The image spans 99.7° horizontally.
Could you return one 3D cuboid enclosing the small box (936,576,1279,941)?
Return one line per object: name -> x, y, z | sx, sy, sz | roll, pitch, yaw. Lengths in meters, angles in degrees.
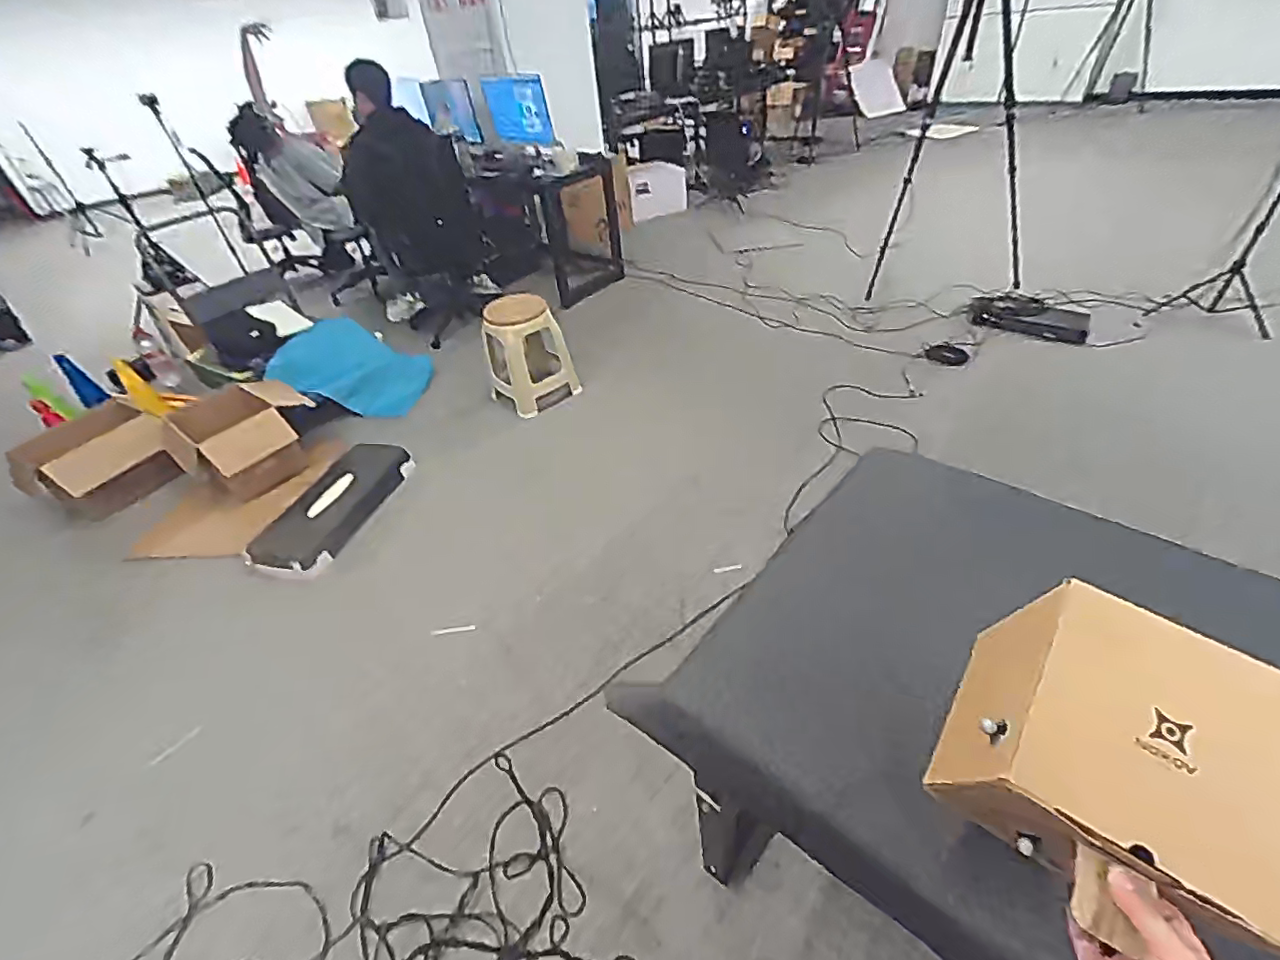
small box -> 0.375, 0.215, 0.444 | 0.168, 0.176, 0.179 | 27, 67, 21
